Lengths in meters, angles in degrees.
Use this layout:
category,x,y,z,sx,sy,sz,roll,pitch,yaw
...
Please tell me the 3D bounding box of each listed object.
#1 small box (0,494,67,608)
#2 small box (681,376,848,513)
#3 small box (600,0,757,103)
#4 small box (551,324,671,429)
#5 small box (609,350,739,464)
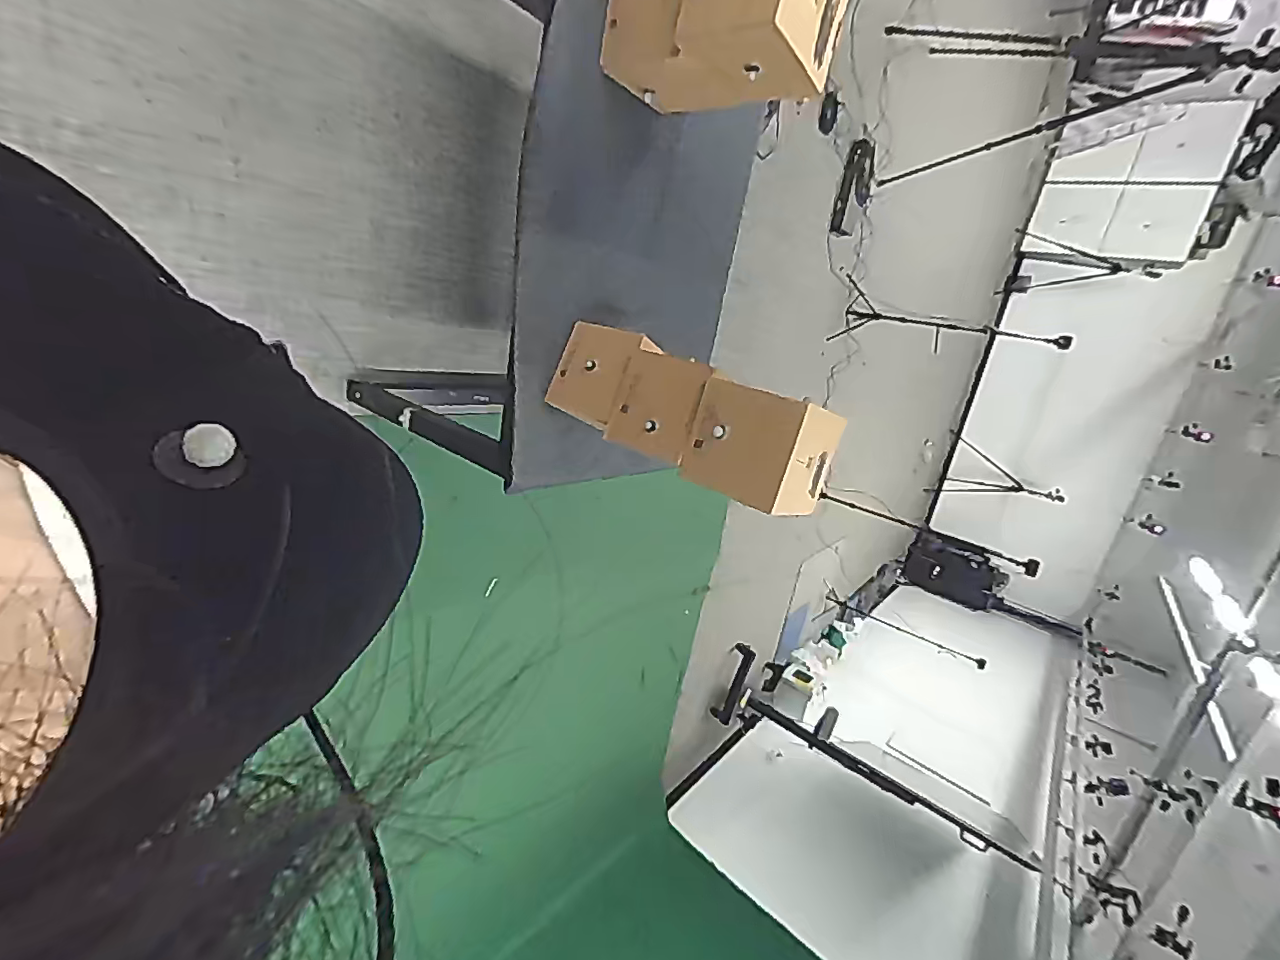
category,x,y,z,sx,sy,sz,roll,pitch,yaw
small box,-1.200,0.119,0.961,0.168,0.176,0.179,-52,142,-21
small box,0.193,-0.055,0.840,0.179,0.176,0.168,4,106,-54
small box,0.063,-0.736,0.873,0.179,0.176,0.168,-10,116,-51
small box,-0.040,-0.184,1.031,0.179,0.176,0.168,23,90,-57
small box,0.074,-0.114,0.936,0.179,0.176,0.168,13,98,-56
